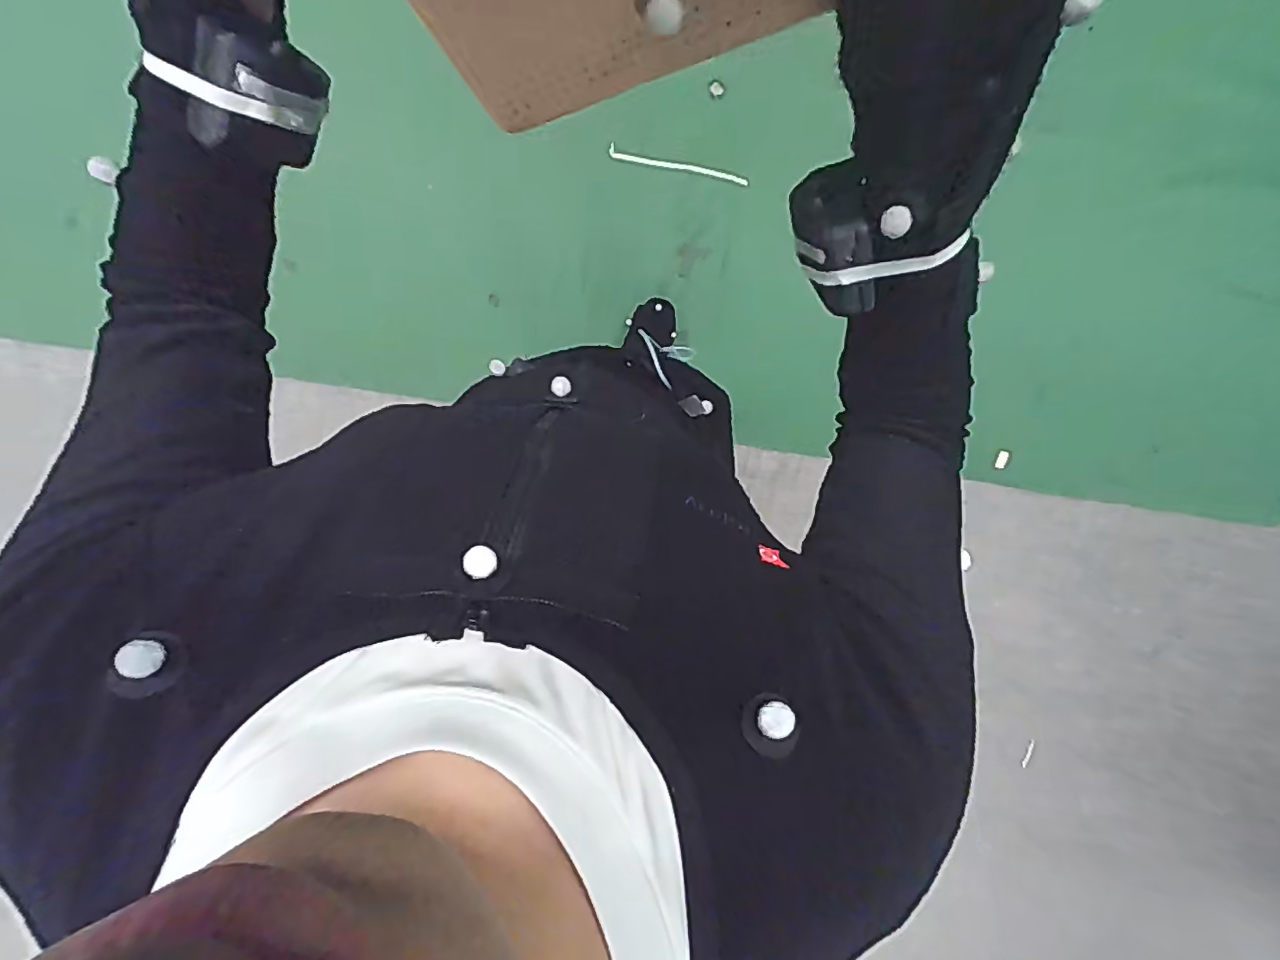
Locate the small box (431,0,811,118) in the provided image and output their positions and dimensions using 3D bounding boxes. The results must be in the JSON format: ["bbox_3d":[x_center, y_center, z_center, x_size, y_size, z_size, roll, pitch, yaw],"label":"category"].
[{"bbox_3d":[-0.016,-0.280,0.190,0.179,0.176,0.168,-12,83,11],"label":"small box"}]
